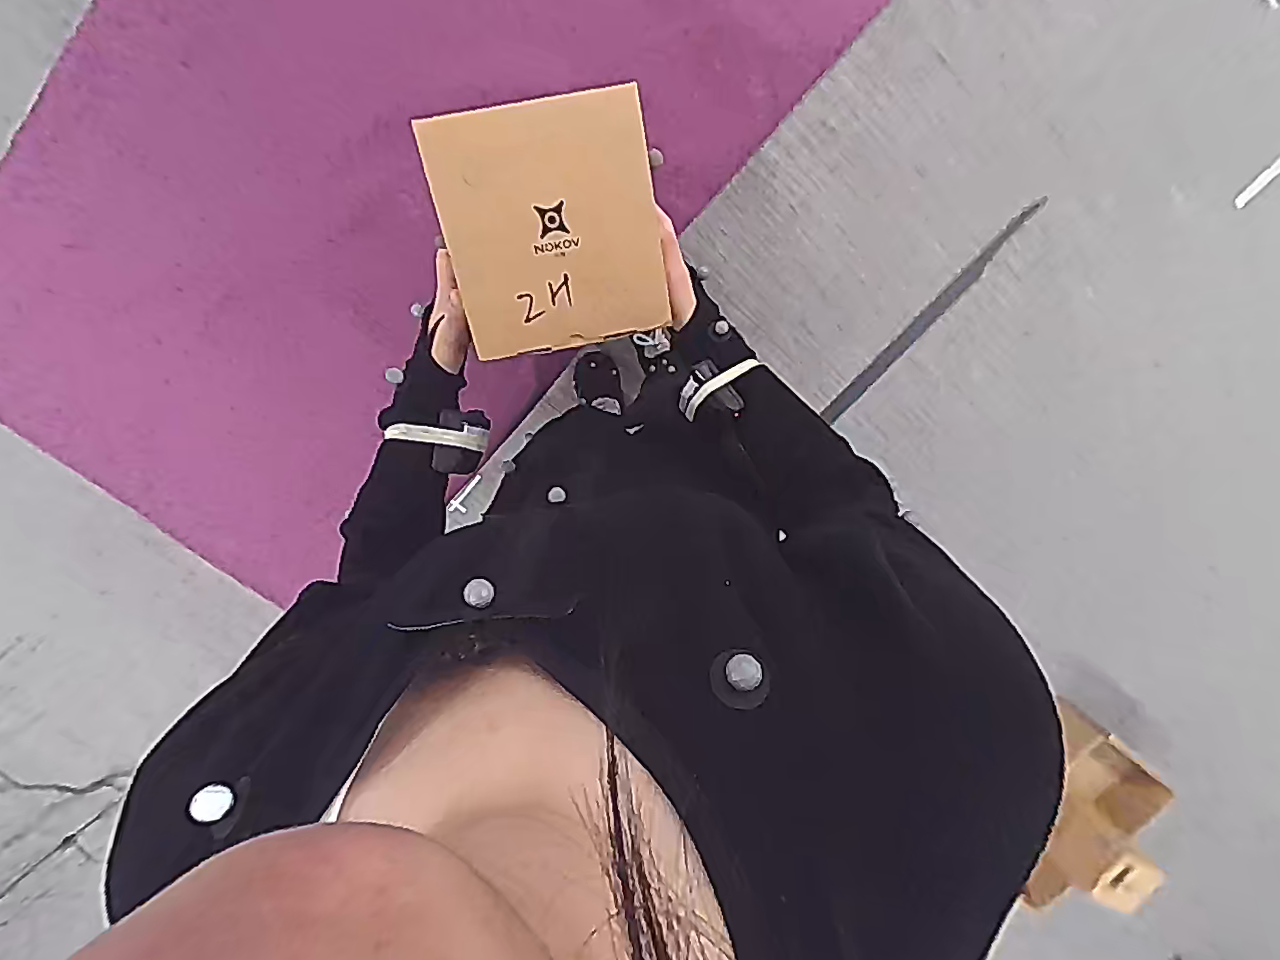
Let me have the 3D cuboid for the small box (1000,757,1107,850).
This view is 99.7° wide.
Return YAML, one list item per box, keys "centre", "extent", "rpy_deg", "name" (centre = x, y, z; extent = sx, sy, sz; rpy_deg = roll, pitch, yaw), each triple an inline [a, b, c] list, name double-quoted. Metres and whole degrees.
- centre: [1.341, 1.048, 1.765]
  extent: [0.179, 0.176, 0.168]
  rpy_deg: [31, 101, -10]
  name: "small box"

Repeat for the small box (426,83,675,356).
- centre: [-0.072, -0.223, 0.494]
  extent: [0.168, 0.176, 0.179]
  rpy_deg: [-11, 112, -2]
  name: "small box"
